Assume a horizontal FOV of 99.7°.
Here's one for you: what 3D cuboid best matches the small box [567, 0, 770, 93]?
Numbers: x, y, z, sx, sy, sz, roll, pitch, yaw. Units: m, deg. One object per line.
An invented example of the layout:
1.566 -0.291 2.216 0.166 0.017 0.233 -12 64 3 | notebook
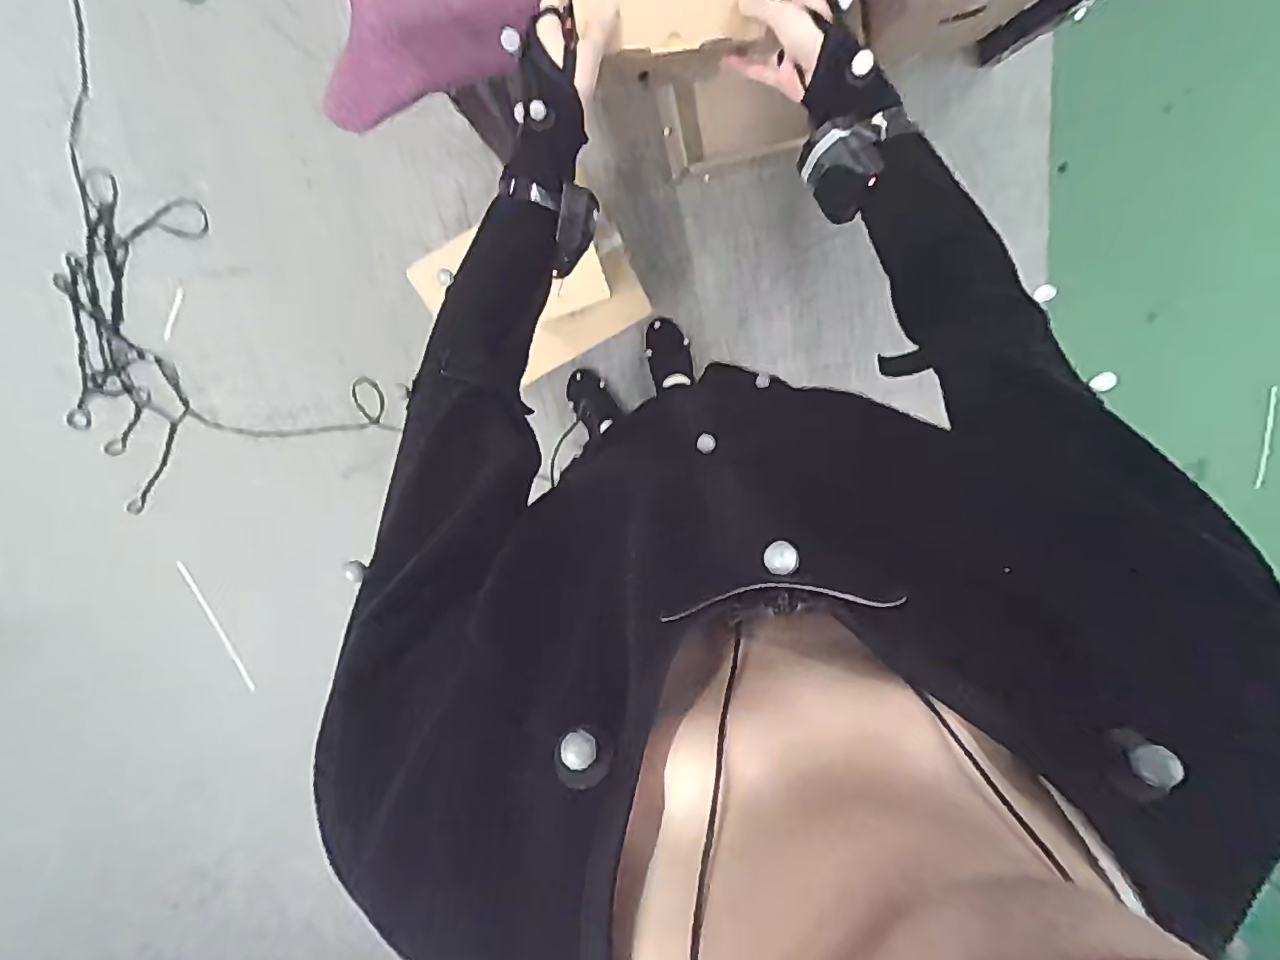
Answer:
0.013 -0.488 0.501 0.168 0.176 0.179 -9 117 -4 | small box
